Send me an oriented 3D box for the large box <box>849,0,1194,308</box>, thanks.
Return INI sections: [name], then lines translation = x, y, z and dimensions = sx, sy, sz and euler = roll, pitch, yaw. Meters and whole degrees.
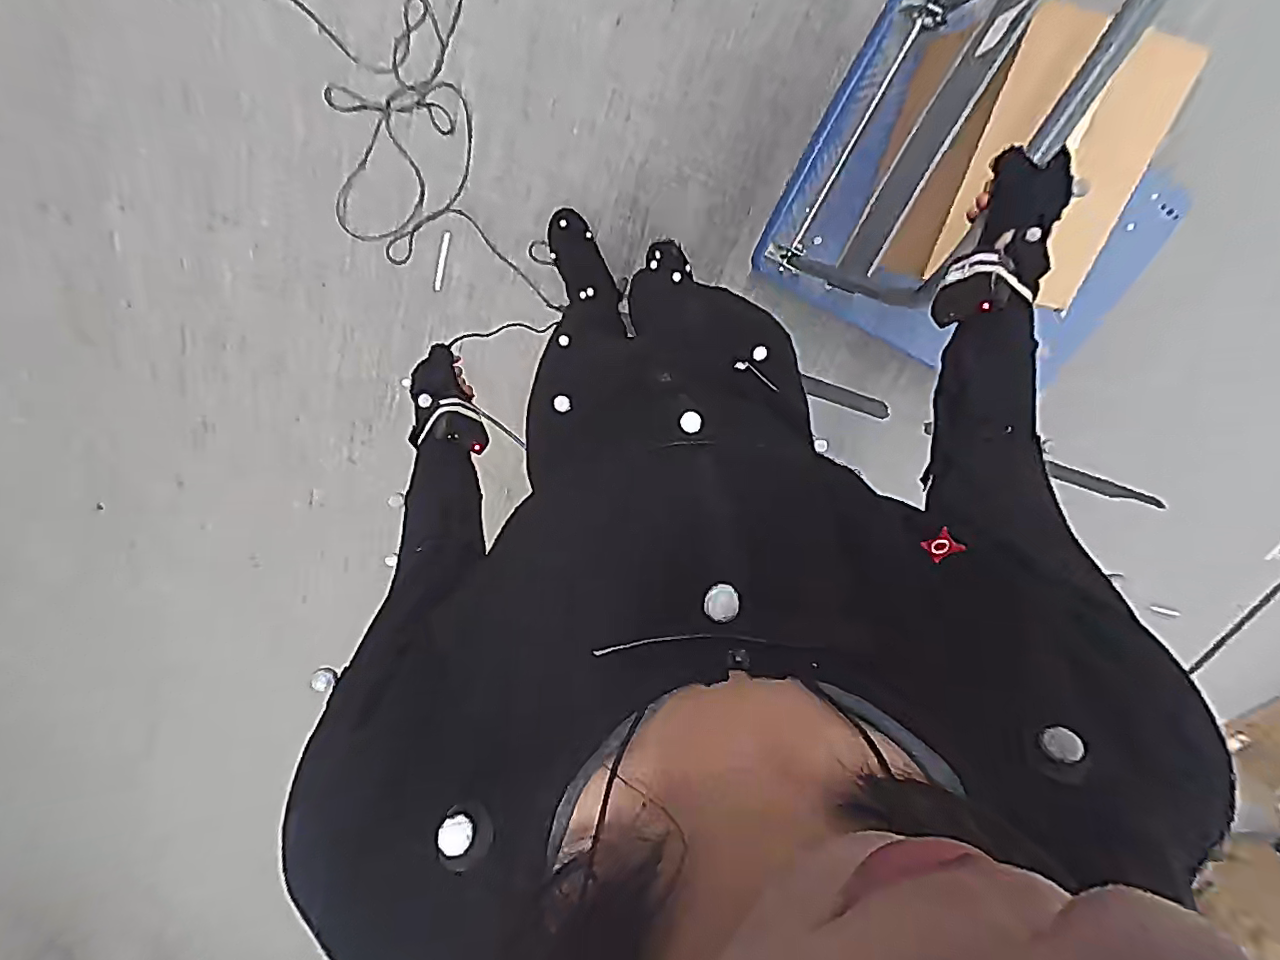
[large box]
translation = 0.669, -0.587, 1.034
dimensions = 0.320, 0.320, 0.408
euler = 8, 117, -10
